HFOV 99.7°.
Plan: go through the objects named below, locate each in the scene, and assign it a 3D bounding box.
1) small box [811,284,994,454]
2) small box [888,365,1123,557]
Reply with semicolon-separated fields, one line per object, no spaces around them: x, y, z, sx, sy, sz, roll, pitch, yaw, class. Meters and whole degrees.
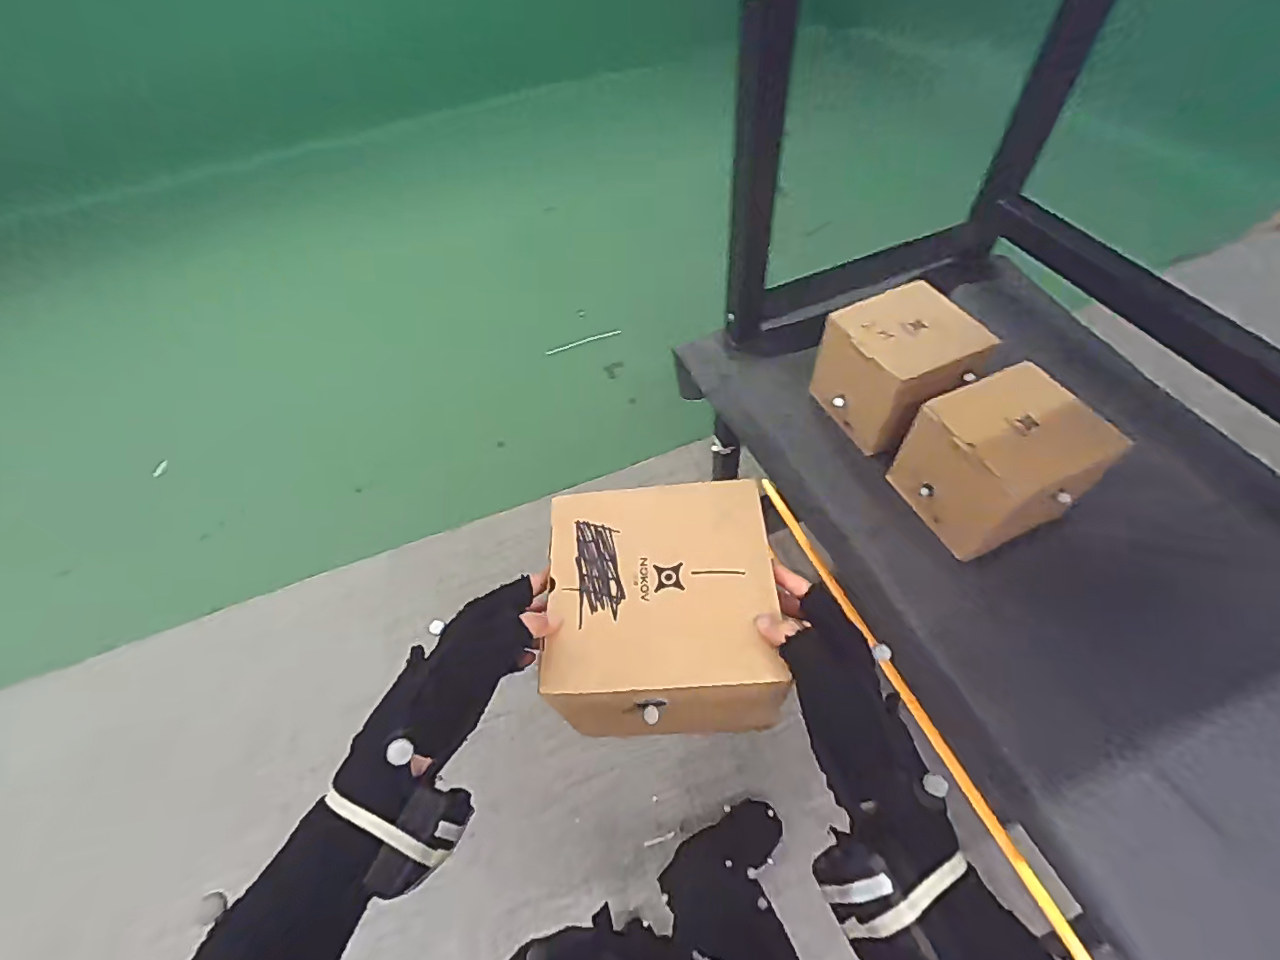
0.398;-0.172;0.858;0.179;0.176;0.168;-22;56;-10;small box
0.482;-0.022;0.748;0.179;0.176;0.168;-22;56;-10;small box
